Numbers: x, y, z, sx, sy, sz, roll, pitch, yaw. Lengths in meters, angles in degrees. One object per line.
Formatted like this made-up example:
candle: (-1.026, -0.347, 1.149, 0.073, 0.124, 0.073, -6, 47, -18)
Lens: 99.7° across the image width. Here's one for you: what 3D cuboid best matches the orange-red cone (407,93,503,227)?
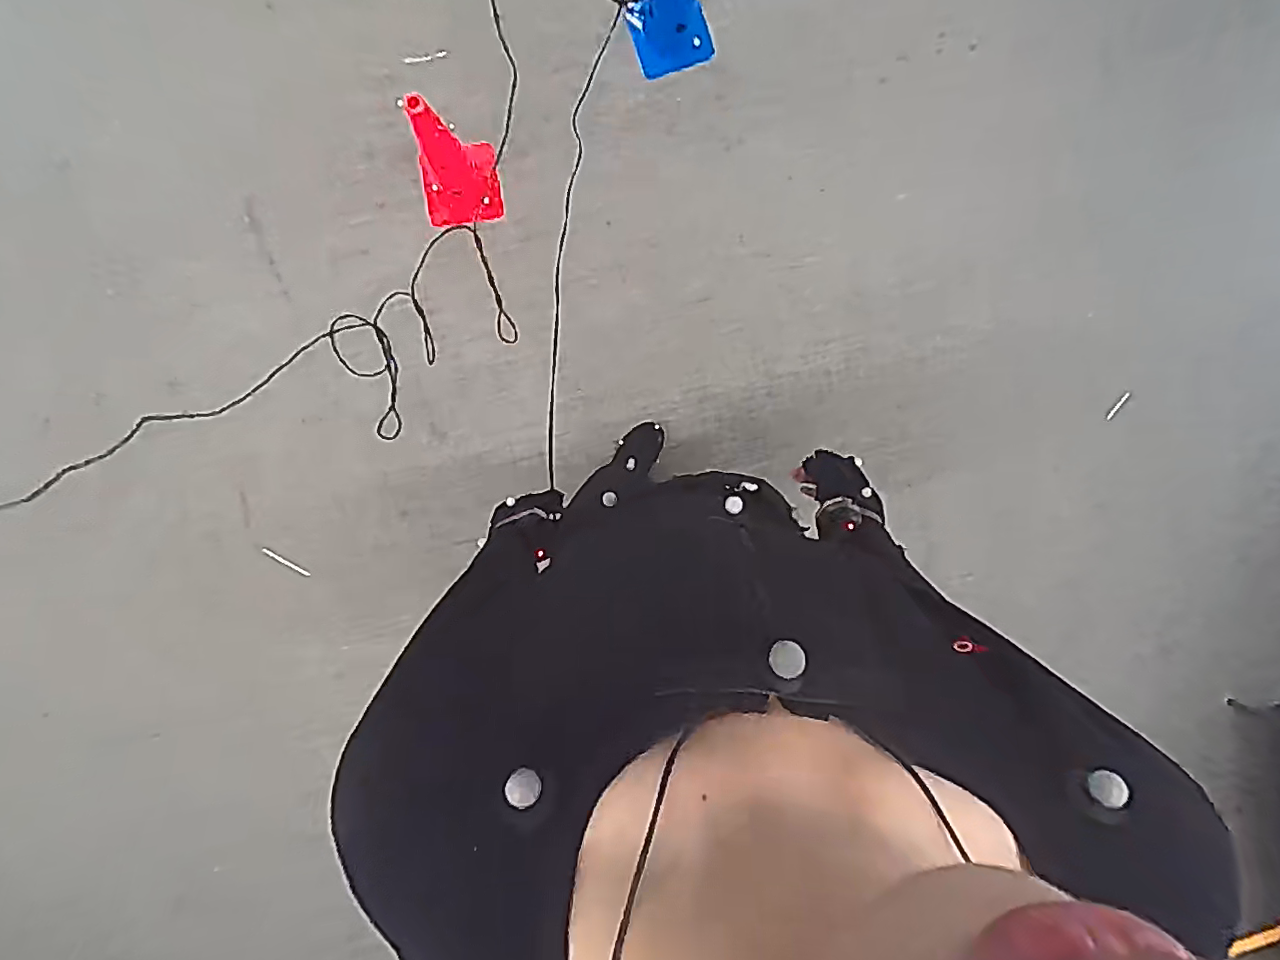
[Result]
orange-red cone: (-0.459, -0.766, 1.255, 0.198, 0.360, 0.199, -8, 93, -3)
